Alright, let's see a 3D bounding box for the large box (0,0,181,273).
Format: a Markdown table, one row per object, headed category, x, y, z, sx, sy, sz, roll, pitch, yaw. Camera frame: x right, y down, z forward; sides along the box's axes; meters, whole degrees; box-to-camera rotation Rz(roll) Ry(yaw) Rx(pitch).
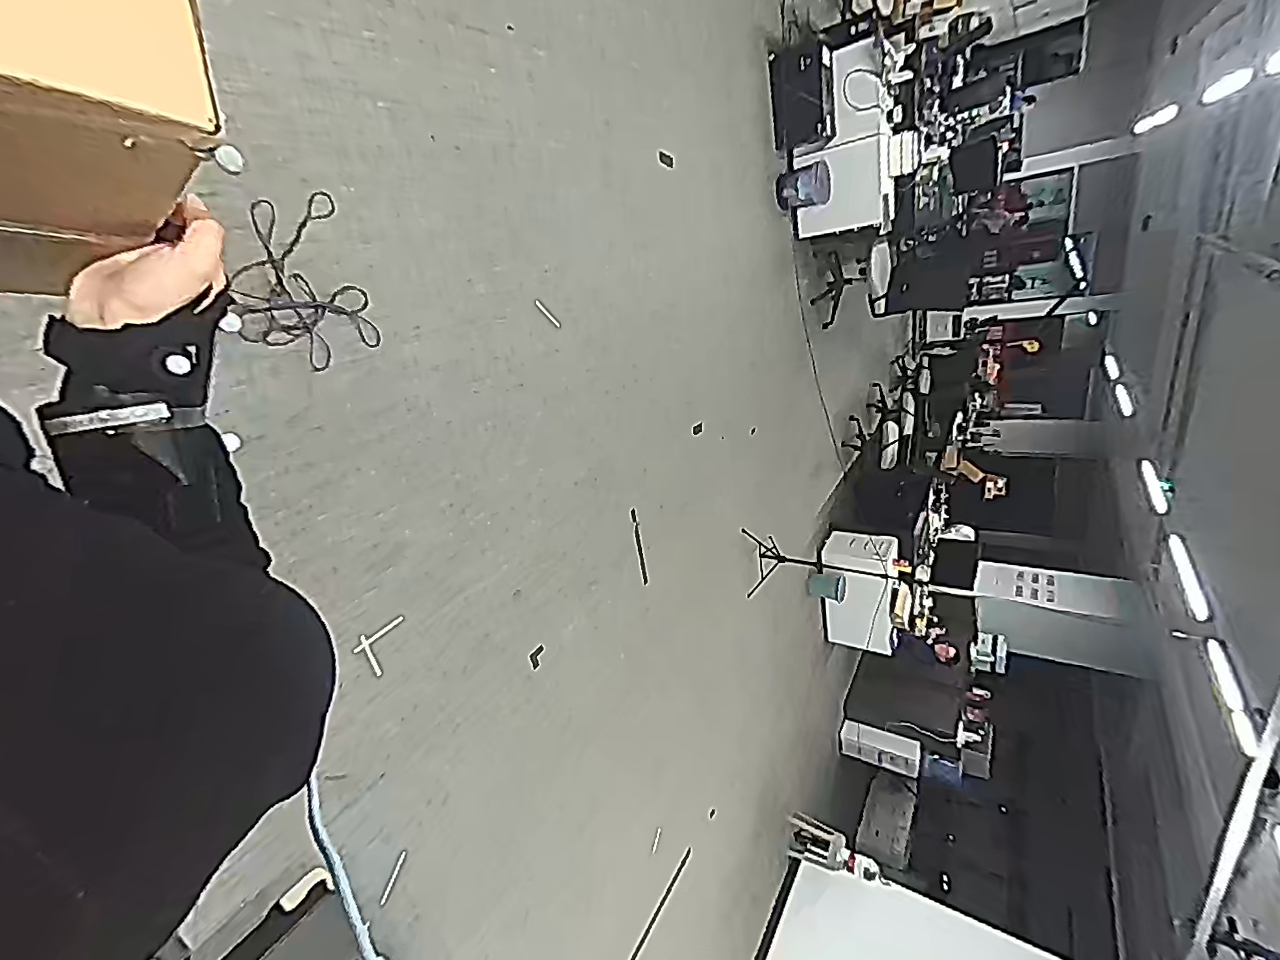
| category | x | y | z | sx | sy | sz | roll | pitch | yaw |
| --- | --- | --- | --- | --- | --- | --- | --- | --- | --- |
| large box | -0.466 | -0.277 | 0.166 | 0.408 | 0.320 | 0.320 | -18 | 104 | -50 |
